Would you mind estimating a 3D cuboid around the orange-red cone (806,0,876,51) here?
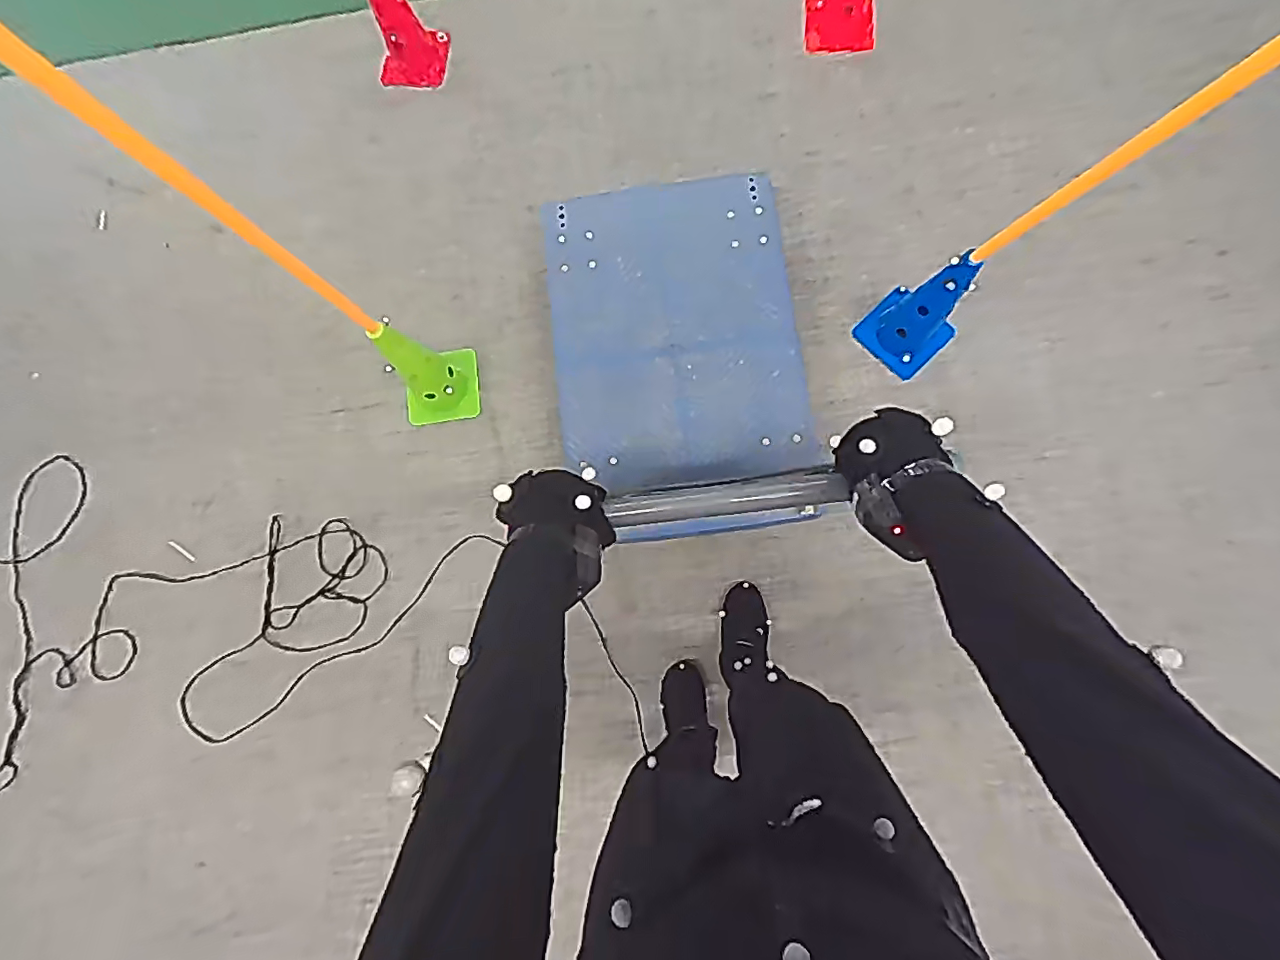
[{"bbox_3d":[0.576,-1.374,1.423,0.198,0.360,0.199,4,82,6],"label":"orange-red cone"}]
